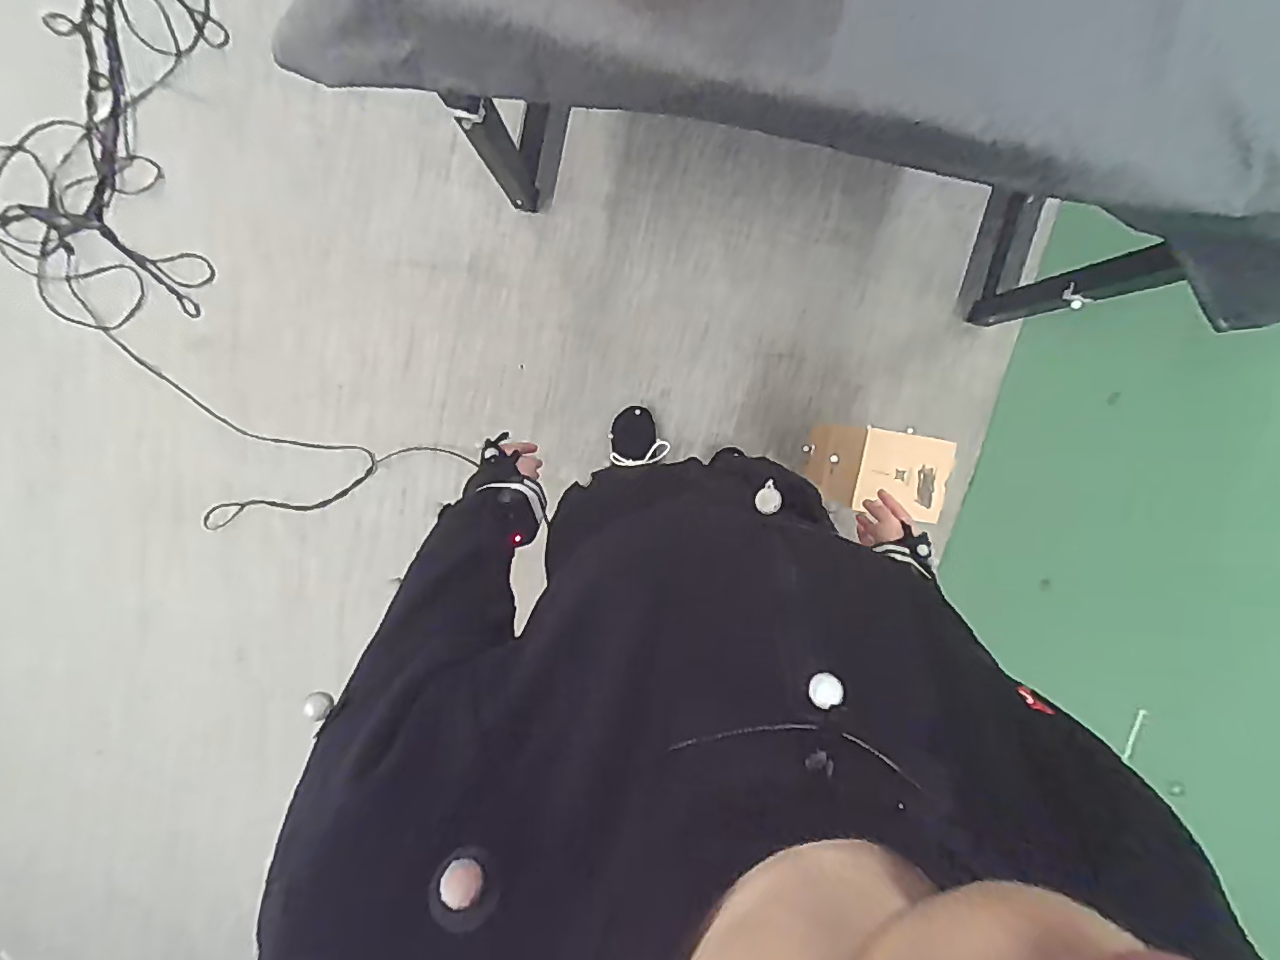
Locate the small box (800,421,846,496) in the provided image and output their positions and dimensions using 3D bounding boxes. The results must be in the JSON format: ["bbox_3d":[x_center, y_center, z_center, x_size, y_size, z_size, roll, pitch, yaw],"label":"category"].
[{"bbox_3d":[0.499,-0.044,1.273,0.179,0.176,0.168,9,97,-1],"label":"small box"}]

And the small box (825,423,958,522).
[{"bbox_3d":[0.506,-0.023,1.111,0.179,0.176,0.168,9,97,0],"label":"small box"}]
